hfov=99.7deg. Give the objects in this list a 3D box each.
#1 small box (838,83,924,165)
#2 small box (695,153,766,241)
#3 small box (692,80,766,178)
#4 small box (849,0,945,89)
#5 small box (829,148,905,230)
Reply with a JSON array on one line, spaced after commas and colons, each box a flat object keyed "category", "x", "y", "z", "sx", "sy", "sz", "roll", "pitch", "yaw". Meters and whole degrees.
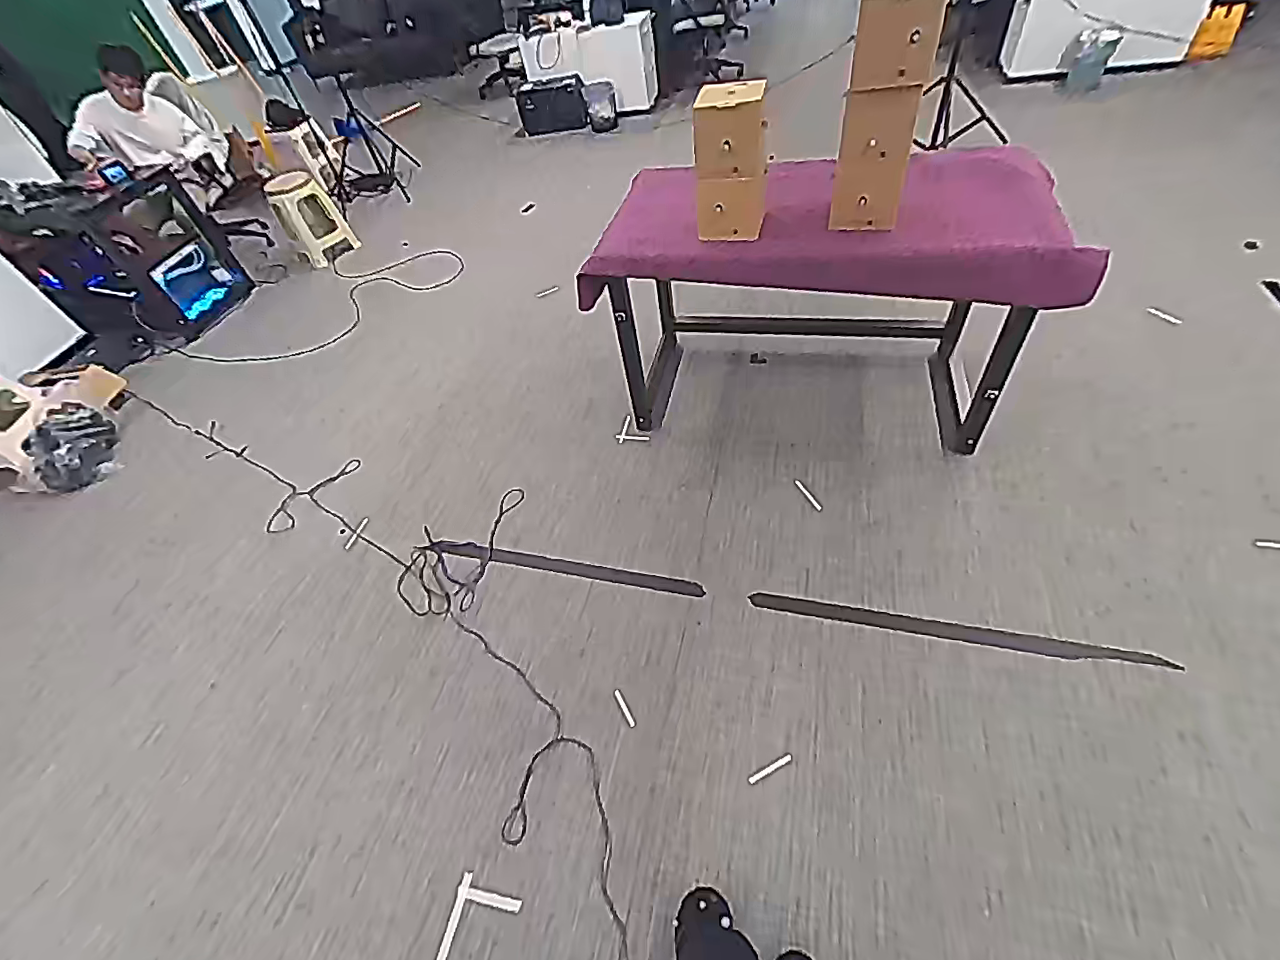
[{"category": "small box", "x": 0.588, "y": -0.897, "z": 1.327, "sx": 0.168, "sy": 0.176, "sz": 0.179, "roll": 8, "pitch": 53, "yaw": 17}, {"category": "small box", "x": 0.258, "y": -0.788, "z": 1.516, "sx": 0.168, "sy": 0.176, "sz": 0.179, "roll": 7, "pitch": 51, "yaw": 16}, {"category": "small box", "x": 0.235, "y": -0.899, "z": 1.397, "sx": 0.168, "sy": 0.176, "sz": 0.179, "roll": 5, "pitch": 51, "yaw": 14}, {"category": "small box", "x": 0.561, "y": -0.984, "z": 1.191, "sx": 0.168, "sy": 0.176, "sz": 0.179, "roll": 6, "pitch": 51, "yaw": 15}, {"category": "small box", "x": 0.607, "y": -0.790, "z": 1.450, "sx": 0.168, "sy": 0.176, "sz": 0.179, "roll": 9, "pitch": 52, "yaw": 17}]
